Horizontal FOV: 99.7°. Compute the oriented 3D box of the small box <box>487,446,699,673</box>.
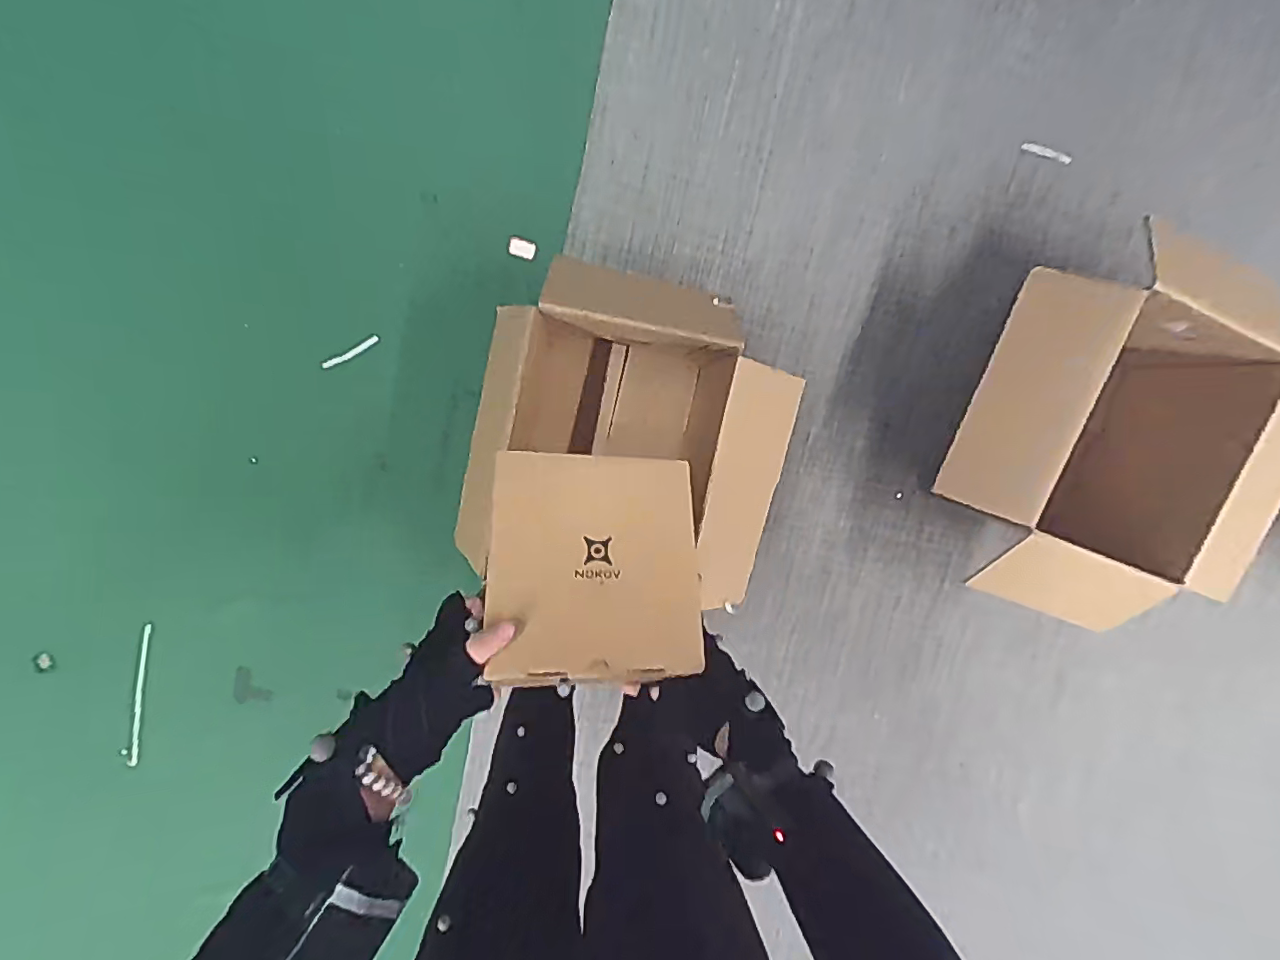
[{"bbox_3d":[-0.055,0.084,0.510,0.168,0.176,0.179,2,69,-14],"label":"small box"}]
